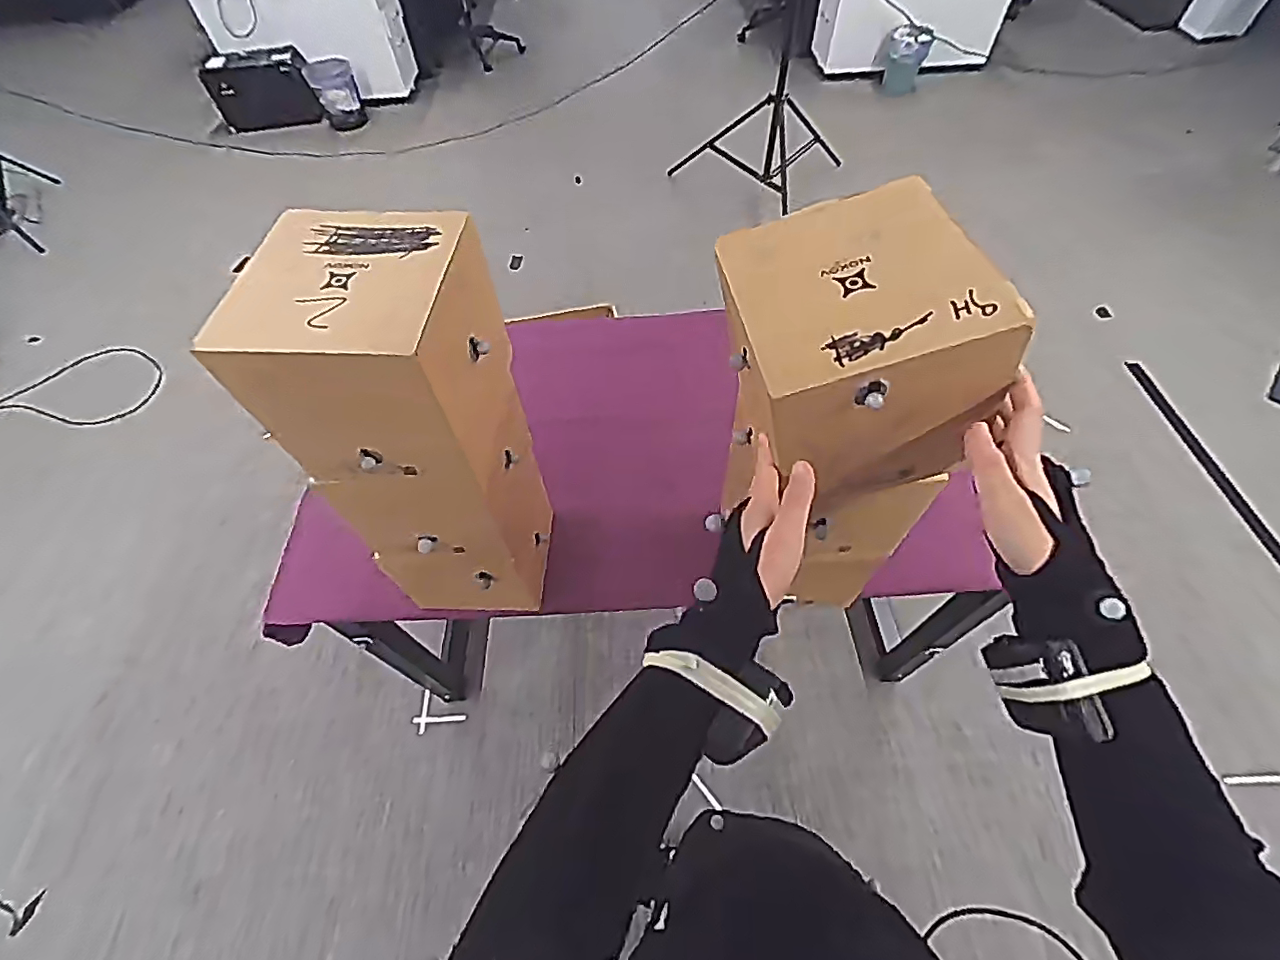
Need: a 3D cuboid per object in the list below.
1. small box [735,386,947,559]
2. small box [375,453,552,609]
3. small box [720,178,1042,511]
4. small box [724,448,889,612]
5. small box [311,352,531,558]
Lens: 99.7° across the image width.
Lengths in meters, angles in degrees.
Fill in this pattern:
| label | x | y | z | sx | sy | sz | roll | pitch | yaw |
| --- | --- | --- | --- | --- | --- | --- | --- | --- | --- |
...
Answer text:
| label | x | y | z | sx | sy | sz | roll | pitch | yaw |
| --- | --- | --- | --- | --- | --- | --- | --- | --- | --- |
| small box | 0.203 | -0.020 | 0.605 | 0.168 | 0.176 | 0.179 | -4 | 56 | 1 |
| small box | -0.227 | 0.073 | 0.755 | 0.179 | 0.176 | 0.168 | 1 | 56 | 3 |
| small box | 0.172 | -0.101 | 0.443 | 0.168 | 0.176 | 0.179 | -15 | 55 | 9 |
| small box | 0.211 | 0.068 | 0.743 | 0.168 | 0.176 | 0.179 | -3 | 57 | 2 |
| small box | -0.229 | -0.025 | 0.624 | 0.168 | 0.176 | 0.179 | 0 | 57 | 2 |
